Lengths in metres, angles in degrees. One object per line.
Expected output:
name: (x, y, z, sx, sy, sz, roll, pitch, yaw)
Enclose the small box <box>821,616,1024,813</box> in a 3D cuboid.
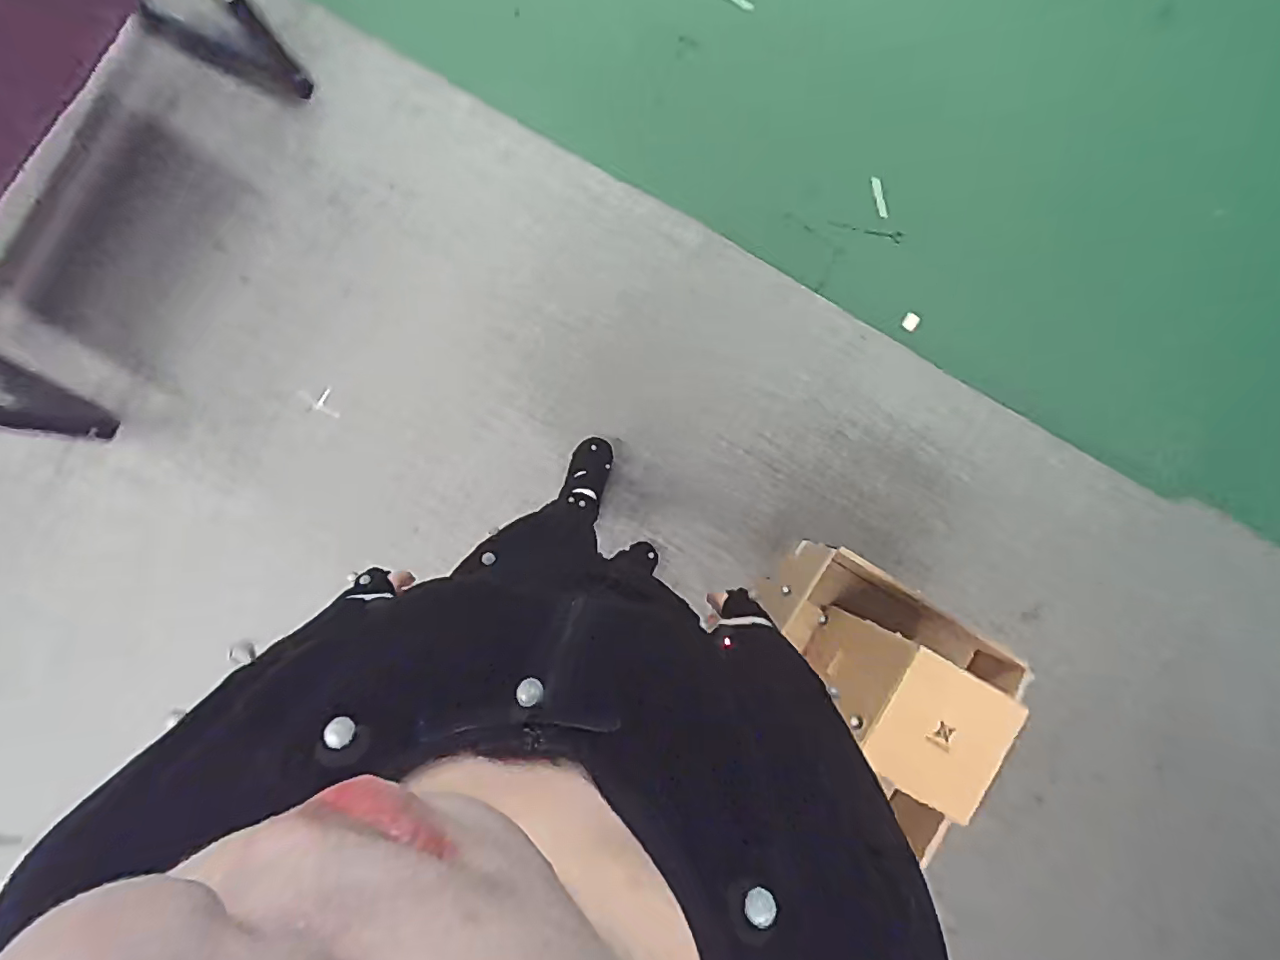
small box: (0.387, 0.318, 0.777, 0.168, 0.176, 0.179, 28, 88, 2)
